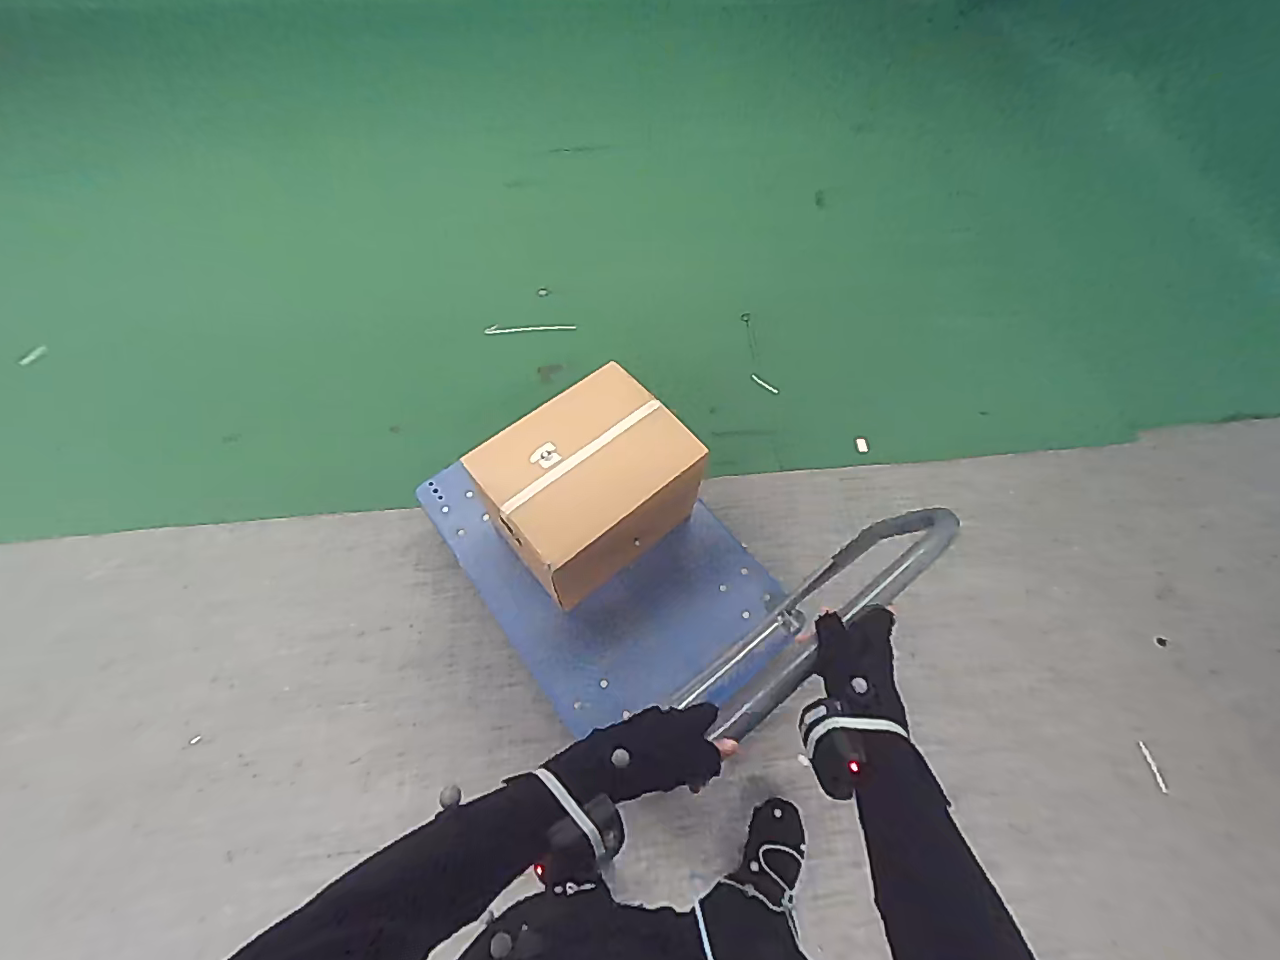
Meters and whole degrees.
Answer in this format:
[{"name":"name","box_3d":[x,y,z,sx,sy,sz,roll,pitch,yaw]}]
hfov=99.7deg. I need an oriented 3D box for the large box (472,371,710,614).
[{"name":"large box","box_3d":[-0.101,0.034,1.239,0.408,0.320,0.320,-37,69,-19]}]
